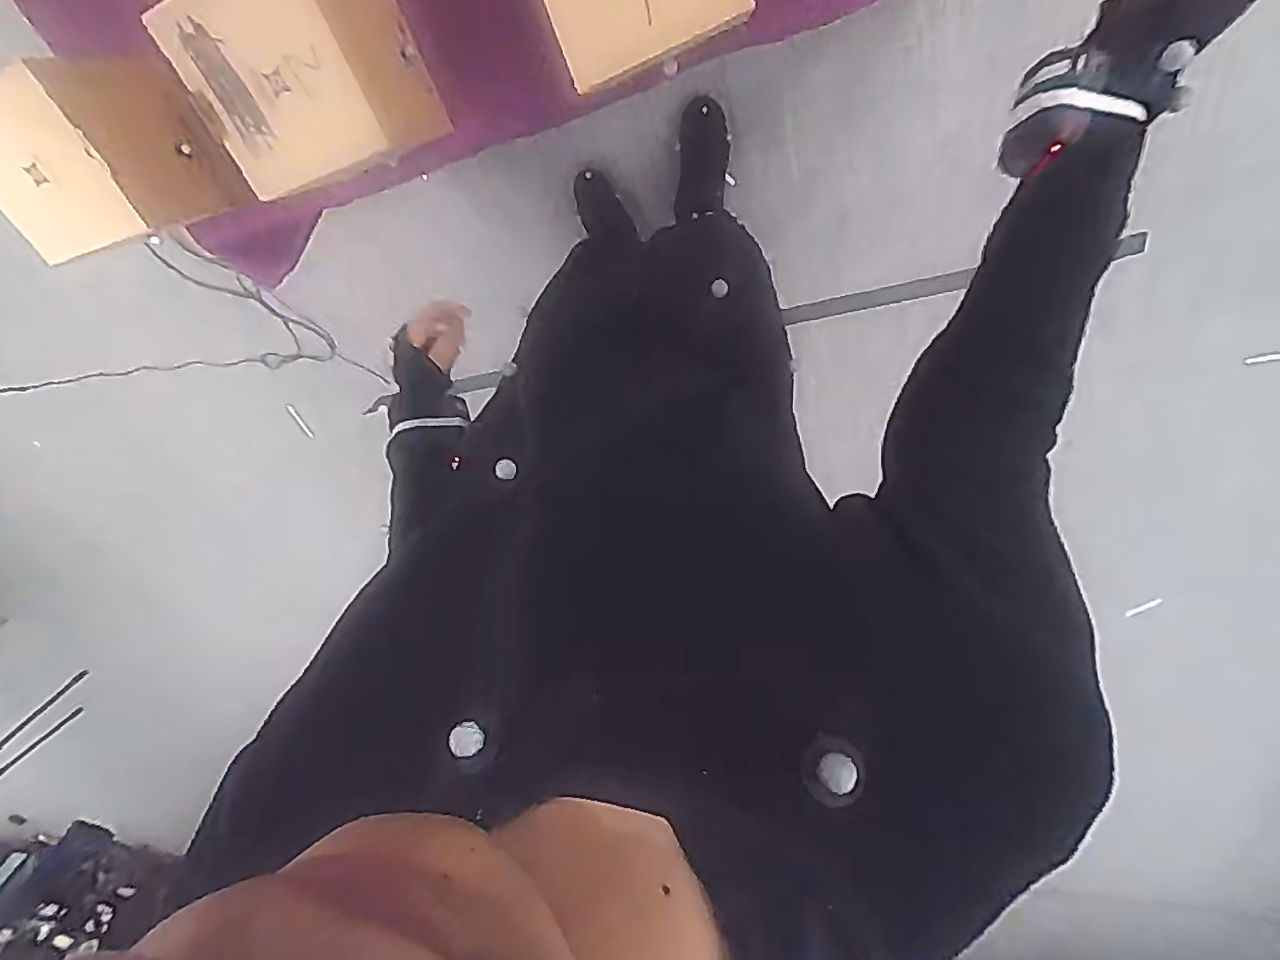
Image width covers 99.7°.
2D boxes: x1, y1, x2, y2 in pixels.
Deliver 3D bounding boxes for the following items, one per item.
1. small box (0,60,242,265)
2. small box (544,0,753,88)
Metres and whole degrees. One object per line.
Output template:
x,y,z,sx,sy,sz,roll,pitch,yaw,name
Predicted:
-0.656,-0.389,0.667,0.179,0.176,0.168,-9,126,15,small box
-0.002,-0.485,0.482,0.168,0.176,0.179,-13,126,19,small box
